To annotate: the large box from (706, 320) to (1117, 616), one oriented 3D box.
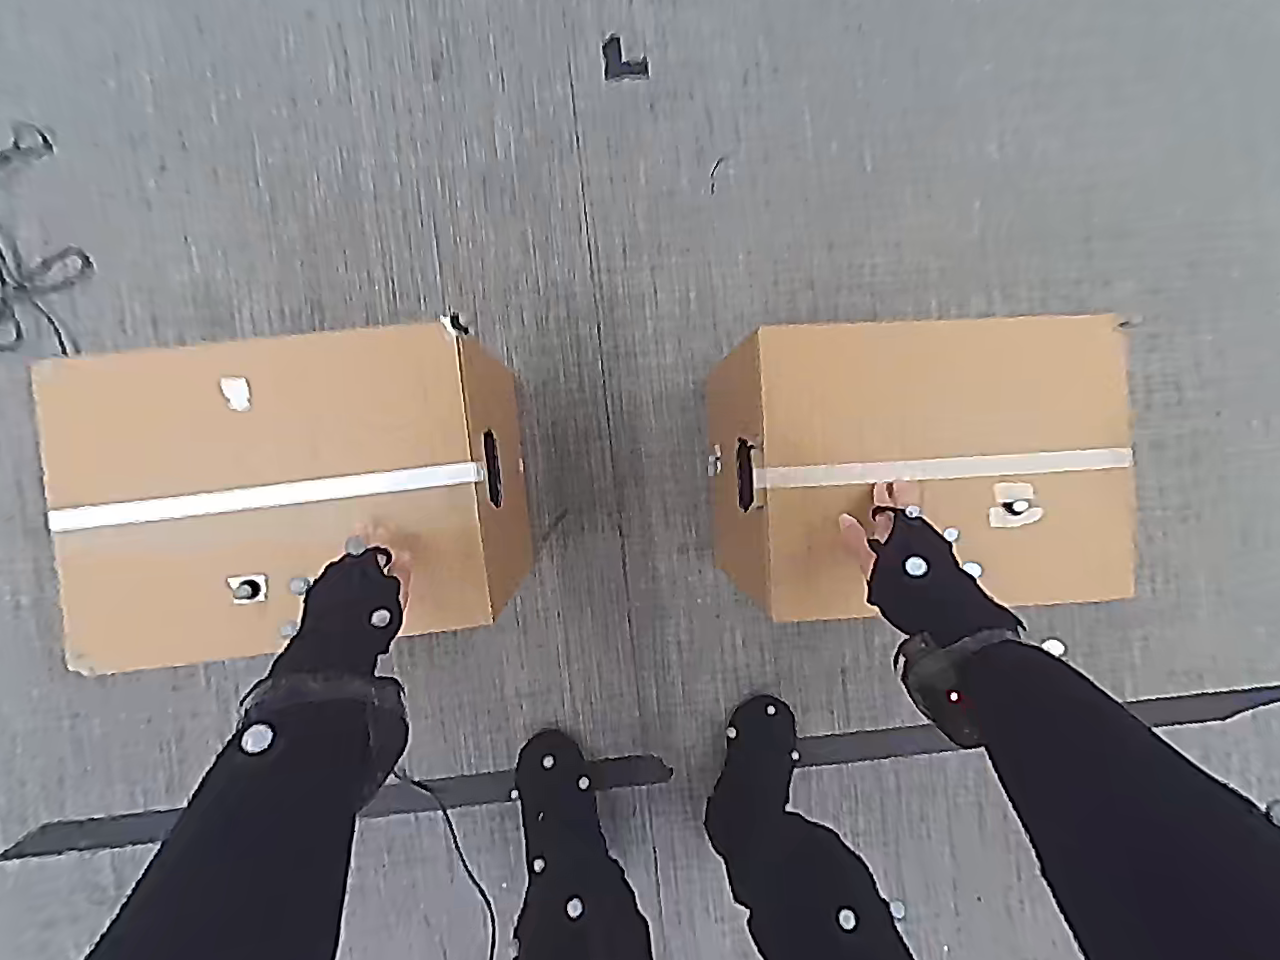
[{"bbox_3d":[0.321,-0.016,0.744,0.408,0.320,0.320,-3,91,-4],"label":"large box"}]
